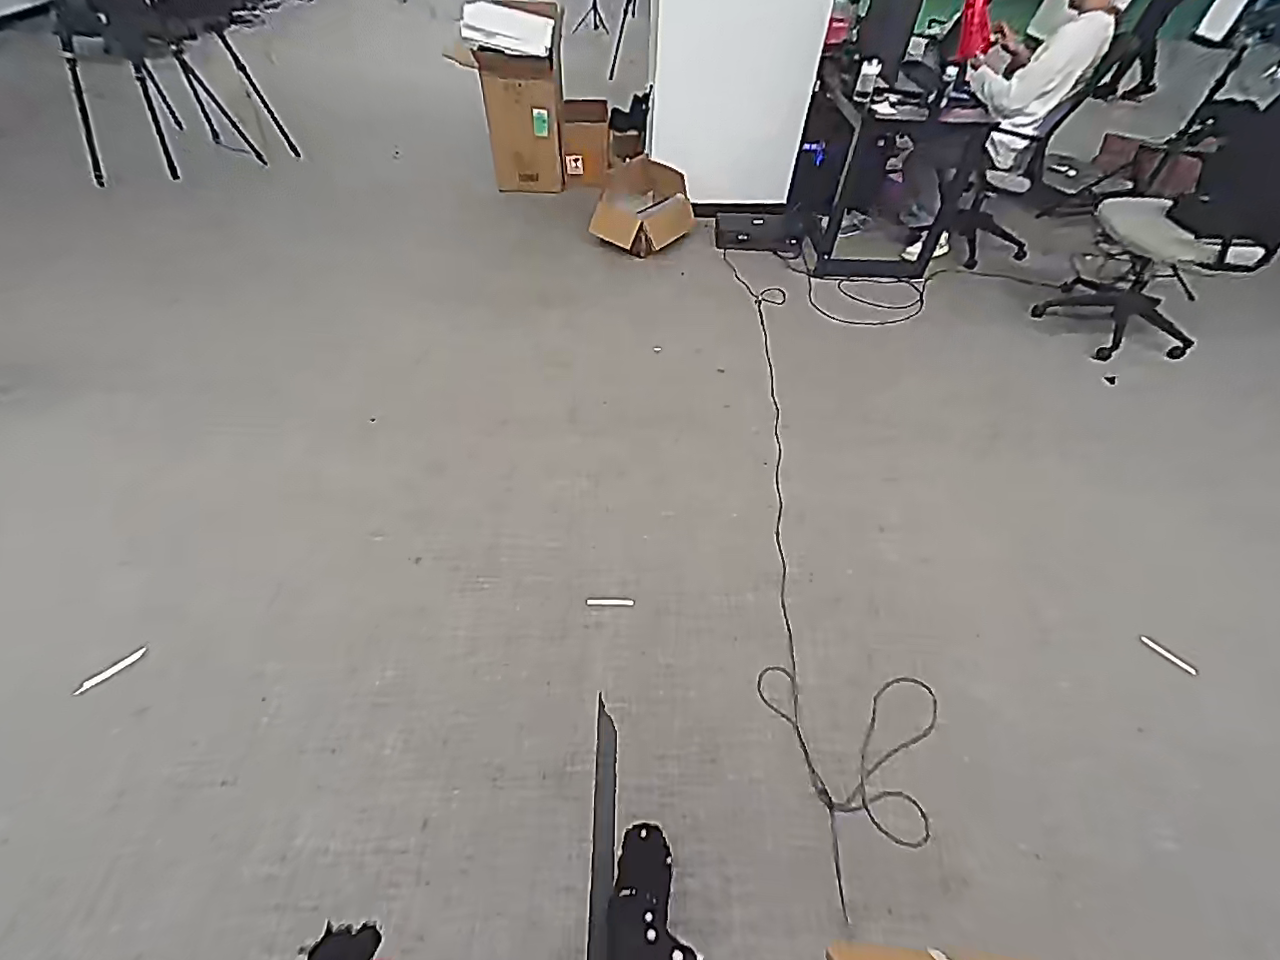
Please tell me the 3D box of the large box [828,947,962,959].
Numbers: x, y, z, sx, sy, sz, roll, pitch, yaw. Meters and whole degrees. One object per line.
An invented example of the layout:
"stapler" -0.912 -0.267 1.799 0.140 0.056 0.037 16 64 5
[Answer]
"large box" 0.416 0.788 0.562 0.320 0.408 0.320 4 73 1
